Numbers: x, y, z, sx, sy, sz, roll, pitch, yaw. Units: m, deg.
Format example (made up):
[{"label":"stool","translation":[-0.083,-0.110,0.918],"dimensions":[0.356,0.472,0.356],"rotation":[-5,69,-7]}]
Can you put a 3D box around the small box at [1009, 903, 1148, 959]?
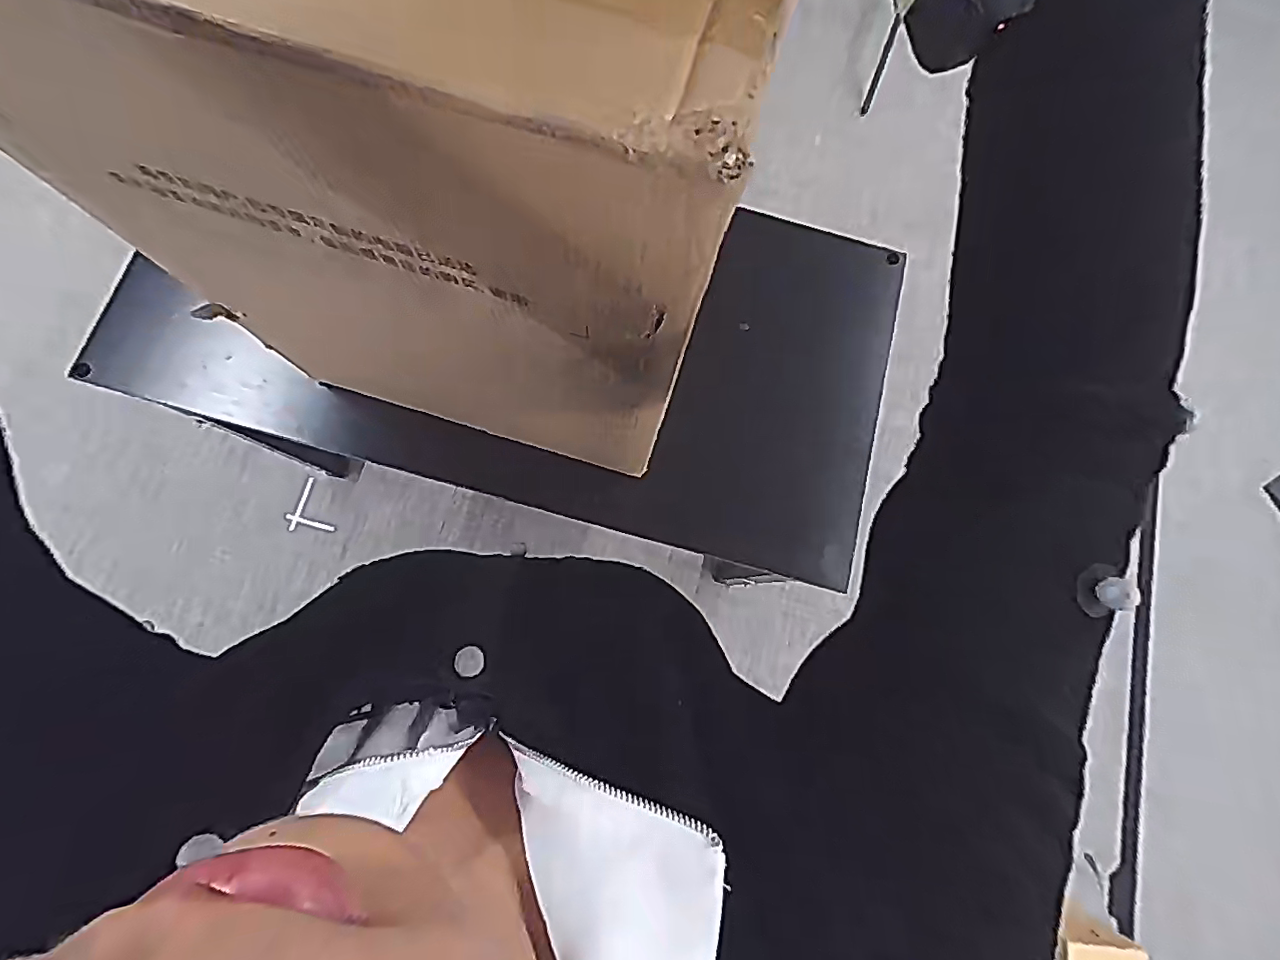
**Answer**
[{"label":"small box","translation":[0.941,1.053,1.166],"dimensions":[0.179,0.176,0.168],"rotation":[8,76,-2]}]
